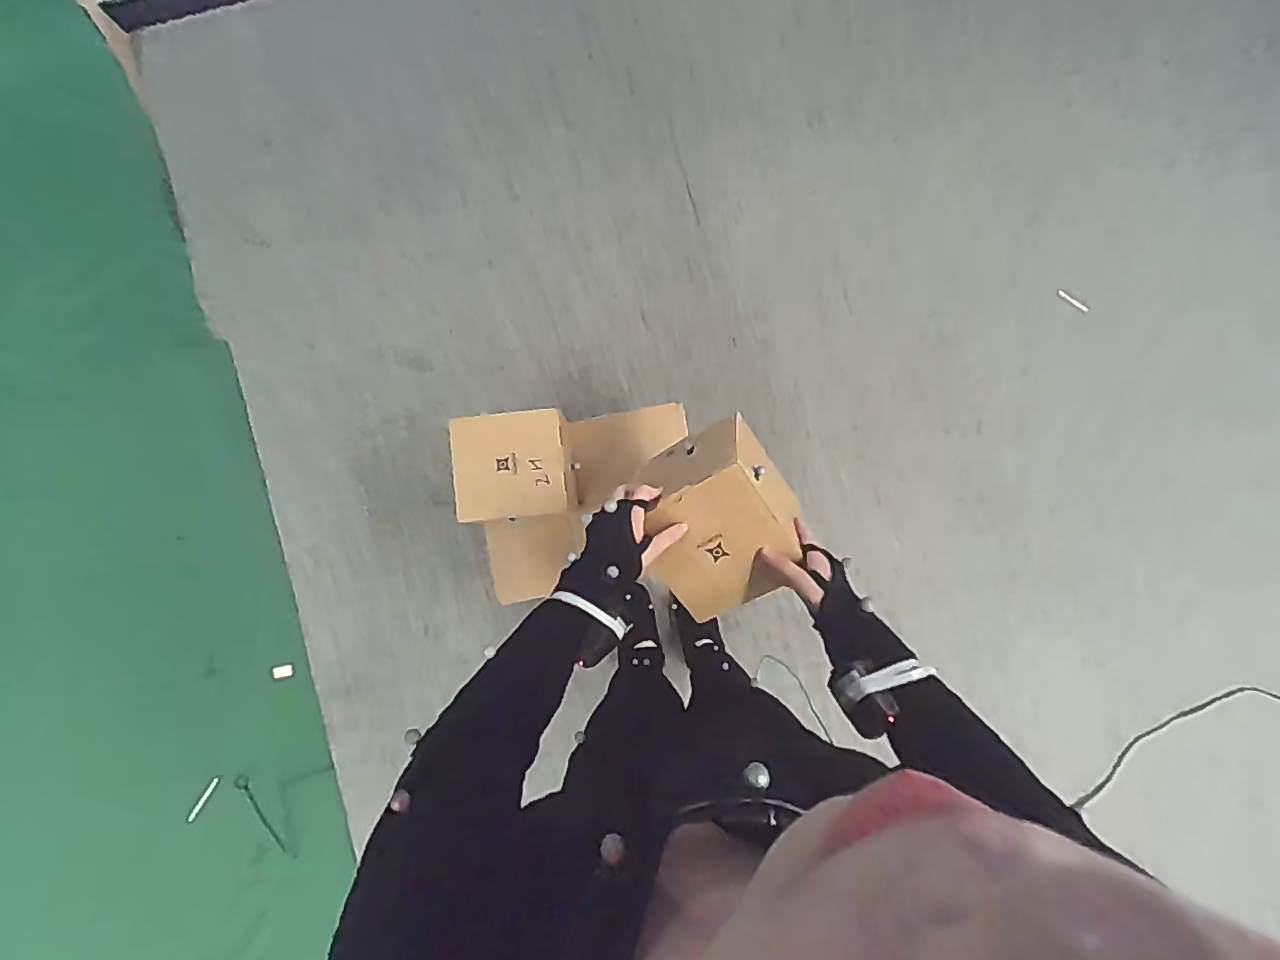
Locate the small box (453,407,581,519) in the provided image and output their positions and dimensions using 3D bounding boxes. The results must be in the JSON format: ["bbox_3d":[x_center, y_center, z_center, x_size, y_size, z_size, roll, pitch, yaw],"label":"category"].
[{"bbox_3d":[-0.201,-0.021,0.923,0.179,0.176,0.168,-6,86,-1],"label":"small box"}]

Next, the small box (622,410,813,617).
[{"bbox_3d":[0.105,0.039,0.707,0.168,0.176,0.179,-31,108,24],"label":"small box"}]
